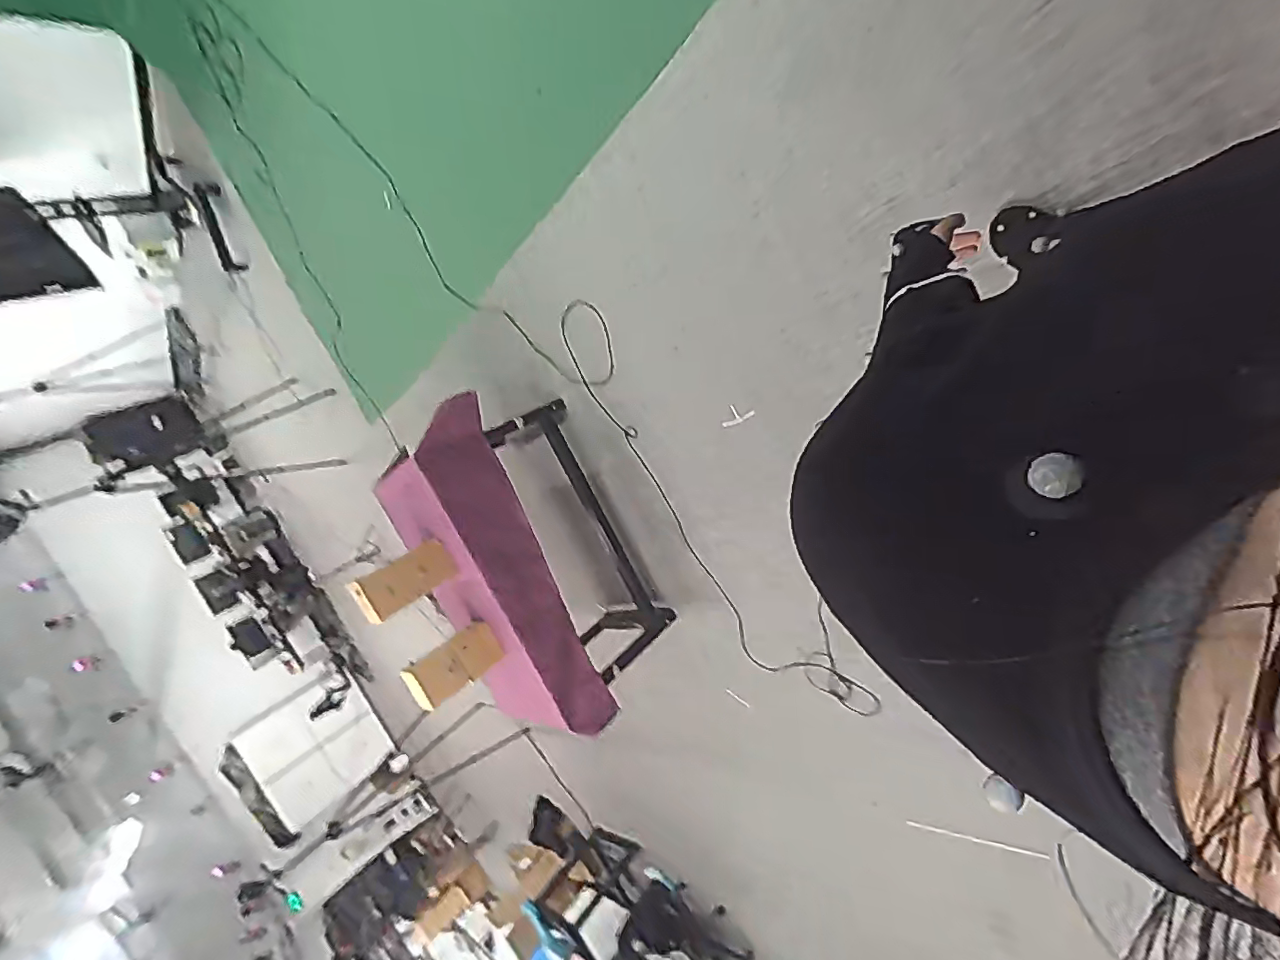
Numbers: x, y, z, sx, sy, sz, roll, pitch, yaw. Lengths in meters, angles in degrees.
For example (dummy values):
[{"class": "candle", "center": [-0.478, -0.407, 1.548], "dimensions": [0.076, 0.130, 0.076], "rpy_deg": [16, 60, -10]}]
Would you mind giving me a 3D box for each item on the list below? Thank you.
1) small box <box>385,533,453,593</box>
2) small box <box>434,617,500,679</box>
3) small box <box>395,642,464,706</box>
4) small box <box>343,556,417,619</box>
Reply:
[{"class": "small box", "center": [-0.871, 0.332, 2.141], "dimensions": [0.168, 0.176, 0.179], "rpy_deg": [-19, 100, 48]}, {"class": "small box", "center": [-0.698, 0.680, 2.193], "dimensions": [0.168, 0.176, 0.179], "rpy_deg": [-21, 98, 49]}, {"class": "small box", "center": [-0.810, 0.742, 2.088], "dimensions": [0.179, 0.176, 0.168], "rpy_deg": [-21, 99, 49]}, {"class": "small box", "center": [-0.977, 0.400, 2.036], "dimensions": [0.168, 0.176, 0.179], "rpy_deg": [-20, 100, 48]}]
